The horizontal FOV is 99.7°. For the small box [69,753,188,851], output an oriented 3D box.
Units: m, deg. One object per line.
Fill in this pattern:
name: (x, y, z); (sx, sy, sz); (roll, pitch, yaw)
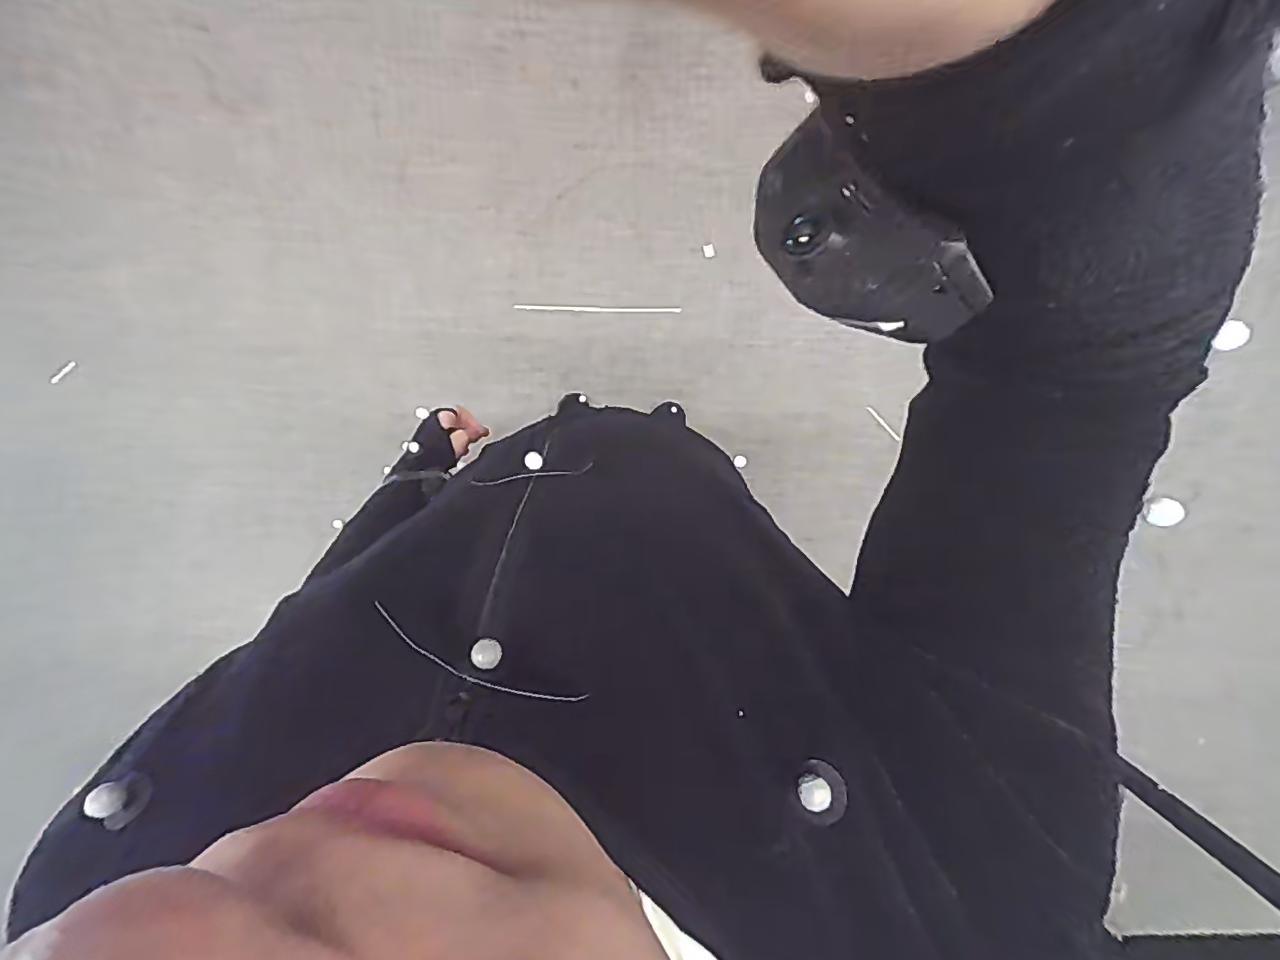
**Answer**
small box: (-1.396, 0.878, 1.488); (0.168, 0.176, 0.179); (1, 99, -1)
